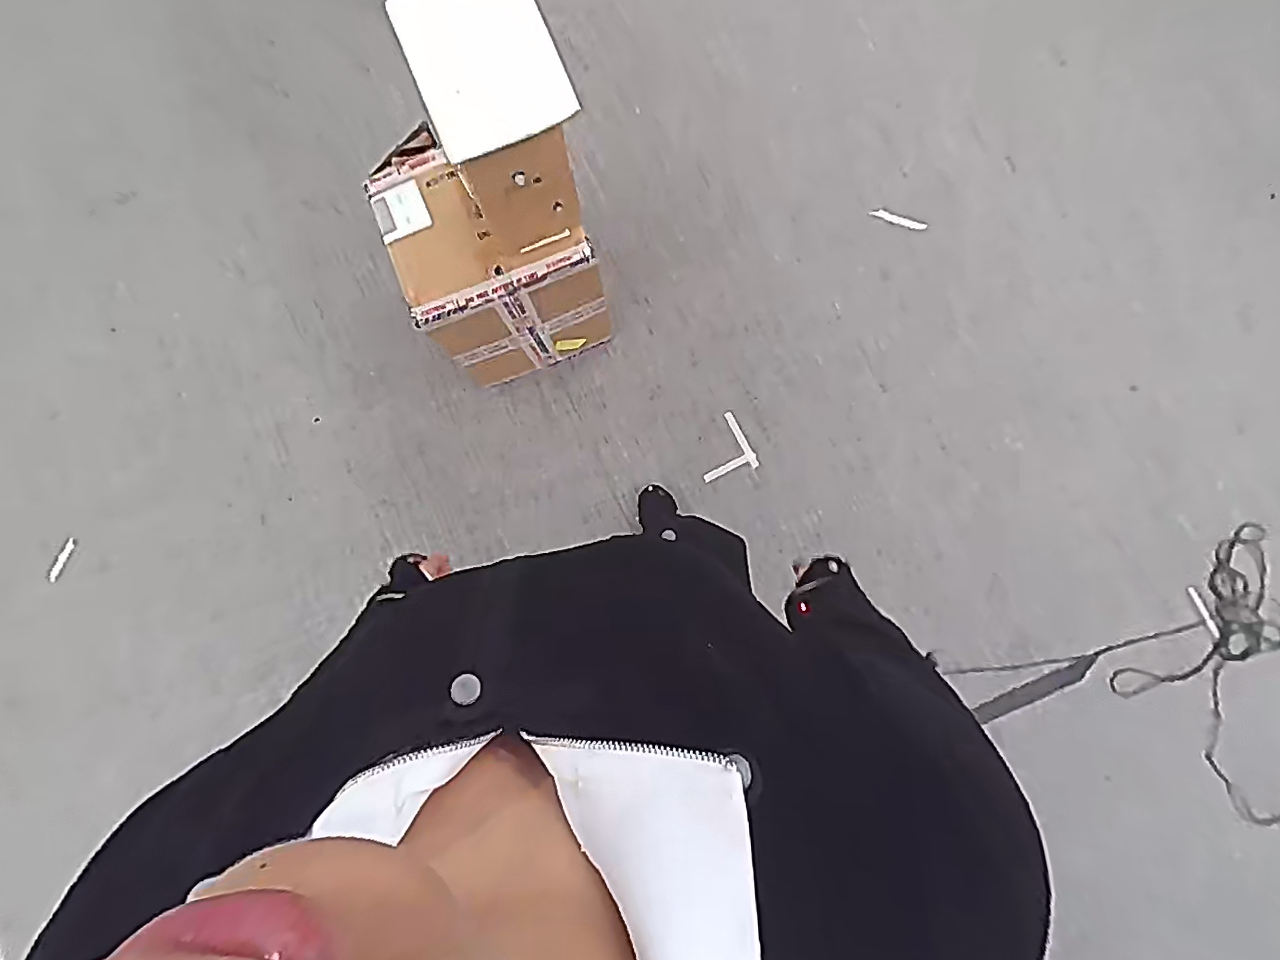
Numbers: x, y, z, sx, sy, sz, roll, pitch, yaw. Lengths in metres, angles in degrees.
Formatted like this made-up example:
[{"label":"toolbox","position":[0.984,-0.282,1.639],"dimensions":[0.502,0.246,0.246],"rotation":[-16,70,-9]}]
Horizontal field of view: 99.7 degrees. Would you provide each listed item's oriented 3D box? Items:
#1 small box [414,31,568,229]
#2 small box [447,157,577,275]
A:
[{"label":"small box","position":[-0.225,-0.541,0.859],"dimensions":[0.168,0.176,0.179],"rotation":[-22,86,-3]},{"label":"small box","position":[-0.229,-0.524,1.023],"dimensions":[0.179,0.176,0.168],"rotation":[-26,85,-2]}]
